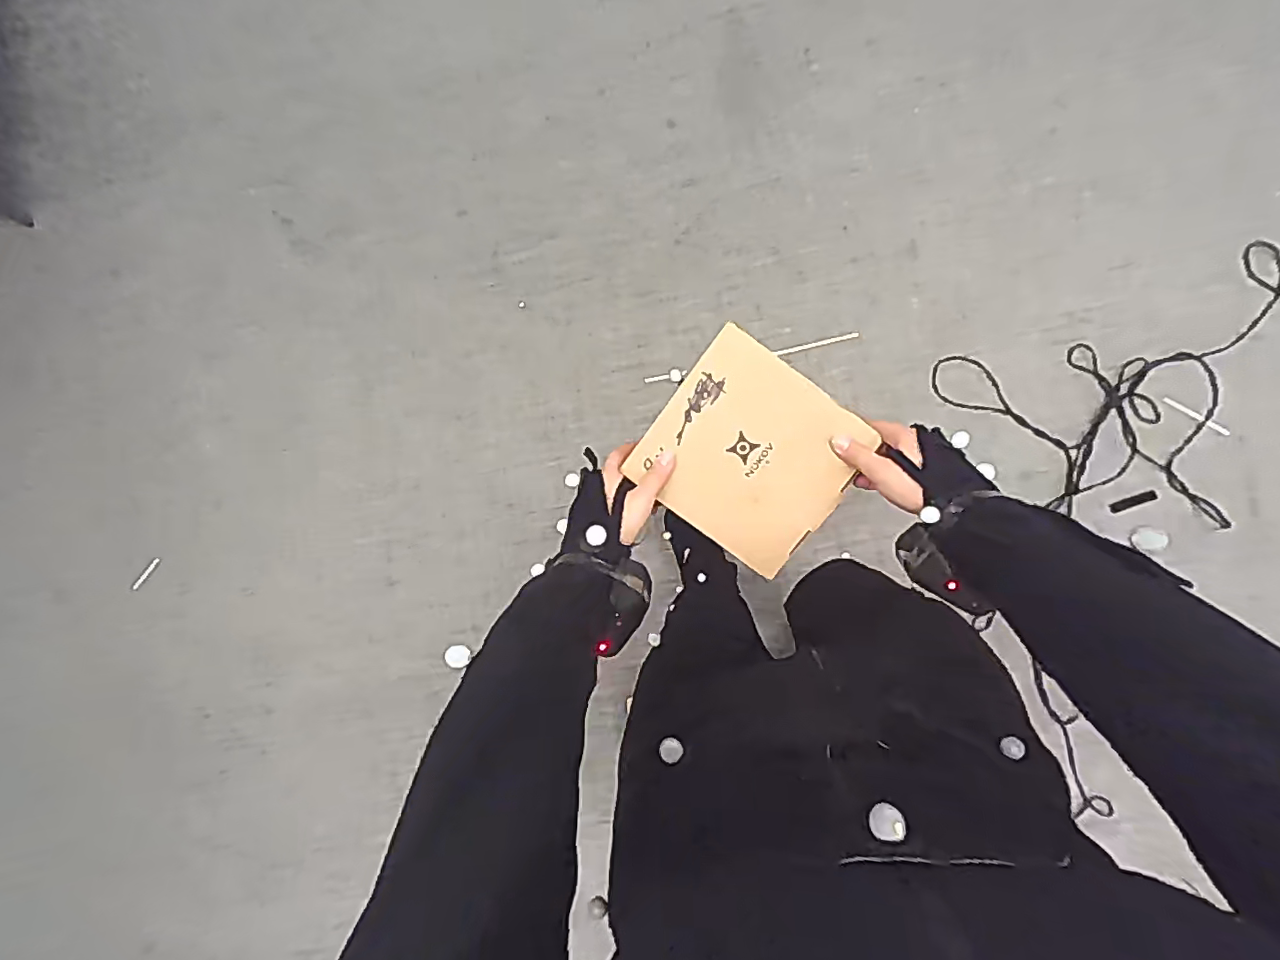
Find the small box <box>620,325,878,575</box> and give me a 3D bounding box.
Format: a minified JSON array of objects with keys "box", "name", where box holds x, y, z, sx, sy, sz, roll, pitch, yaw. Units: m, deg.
[{"box":[0.101,-0.036,0.566,0.179,0.176,0.168,37,97,-3],"name":"small box"}]
